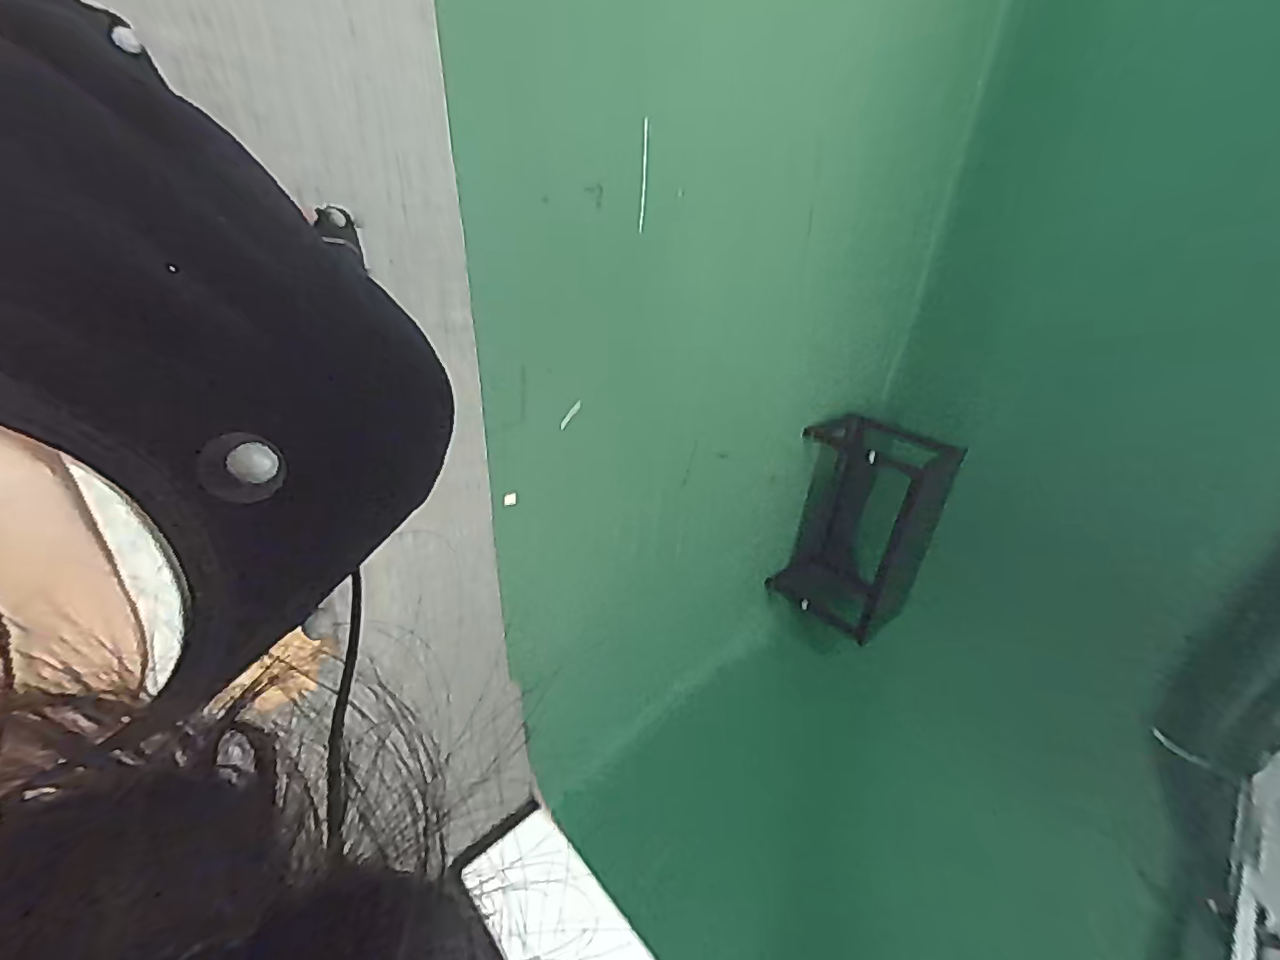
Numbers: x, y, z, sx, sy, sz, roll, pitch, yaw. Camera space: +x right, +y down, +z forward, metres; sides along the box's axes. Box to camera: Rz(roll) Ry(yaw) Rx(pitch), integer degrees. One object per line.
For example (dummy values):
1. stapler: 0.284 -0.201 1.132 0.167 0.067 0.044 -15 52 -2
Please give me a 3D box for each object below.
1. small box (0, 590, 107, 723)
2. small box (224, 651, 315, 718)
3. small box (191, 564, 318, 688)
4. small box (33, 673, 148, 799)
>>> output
1. small box: -1.247 0.352 1.118 0.168 0.176 0.179 -18 126 -39
2. small box: -1.011 0.494 1.464 0.179 0.176 0.168 -16 125 -41
3. small box: -0.880 0.327 1.237 0.168 0.176 0.179 -34 134 -29
4. small box: -1.259 0.575 1.244 0.179 0.176 0.168 -3 116 -44
